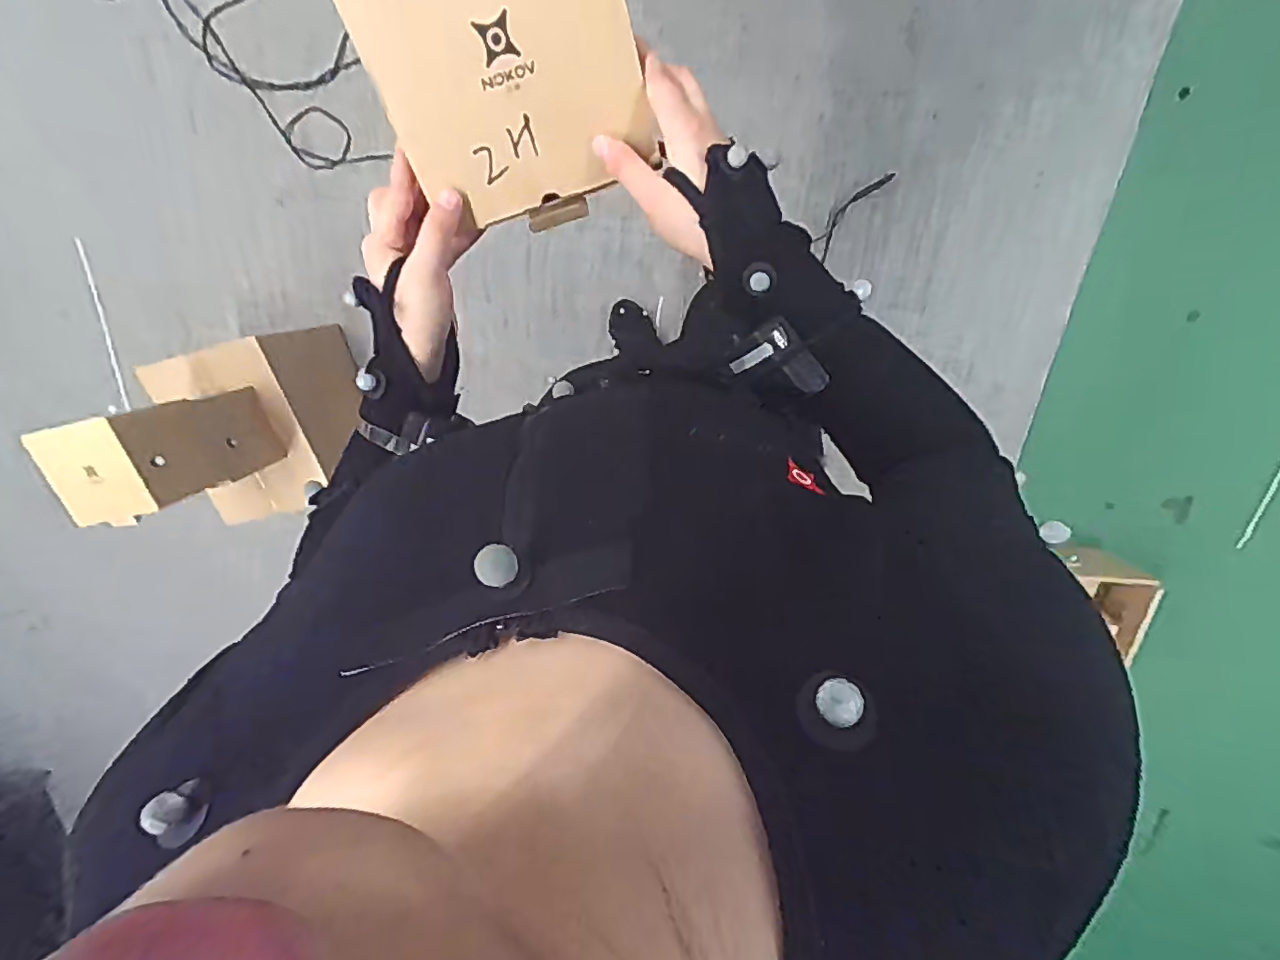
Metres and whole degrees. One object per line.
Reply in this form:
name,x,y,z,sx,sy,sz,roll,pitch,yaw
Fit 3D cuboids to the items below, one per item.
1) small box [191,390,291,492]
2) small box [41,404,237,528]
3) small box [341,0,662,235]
small box,-0.907,-0.080,1.169,0.168,0.176,0.179,-12,109,8
small box,-0.920,-0.035,1.013,0.168,0.176,0.179,-12,110,7
small box,-0.089,-0.312,0.403,0.168,0.176,0.179,-15,126,8
